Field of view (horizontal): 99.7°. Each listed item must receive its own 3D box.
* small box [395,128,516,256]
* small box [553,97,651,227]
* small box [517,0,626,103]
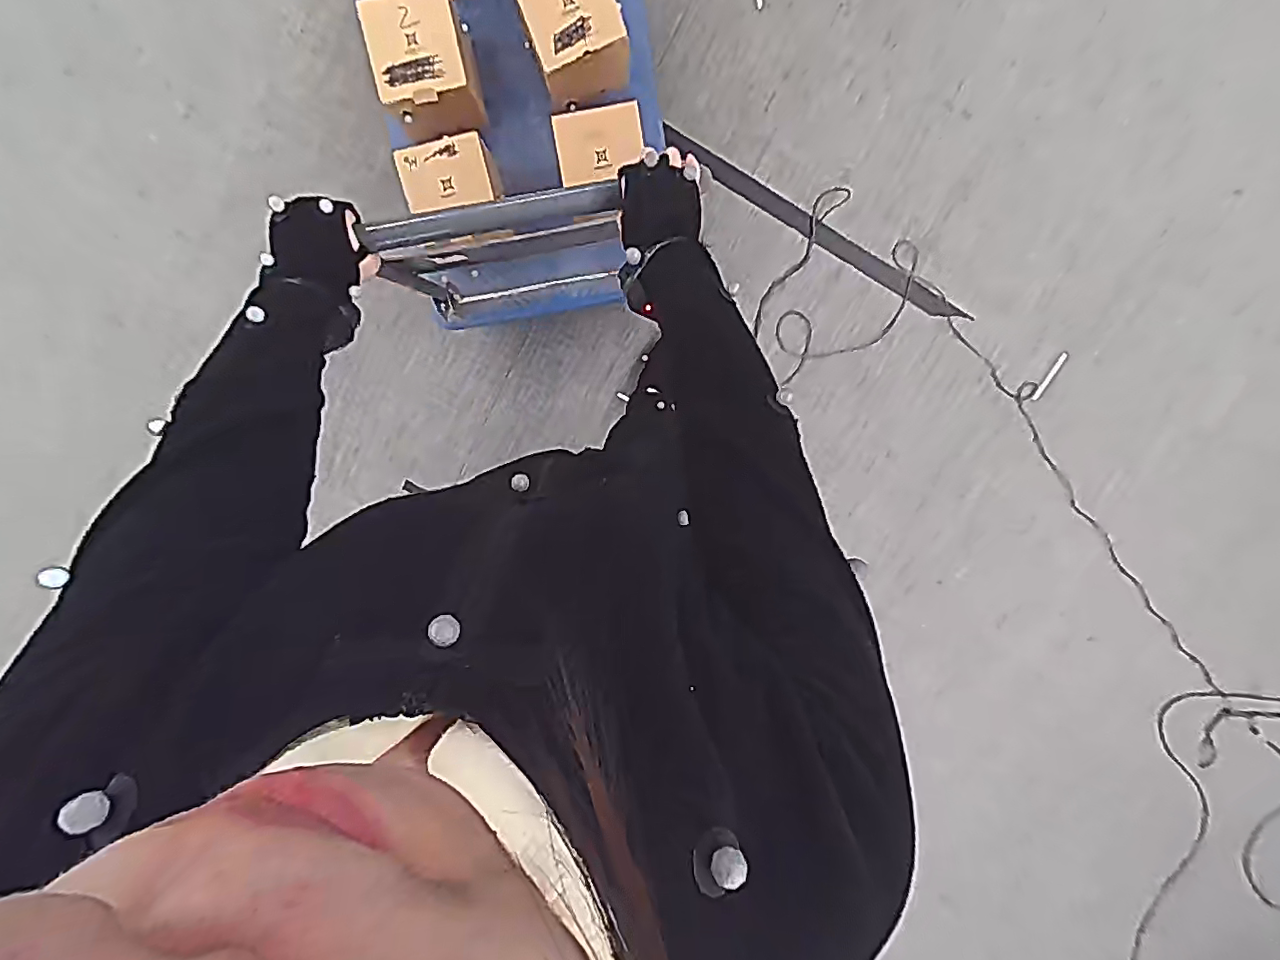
[{"bbox_3d":[-0.364,-0.572,1.103,0.168,0.176,0.179,-14,101,1],"label":"small box"},{"bbox_3d":[-0.071,-0.630,1.099,0.168,0.176,0.179,-10,100,0],"label":"small box"},{"bbox_3d":[-0.131,-0.877,1.050,0.168,0.176,0.179,-22,100,3],"label":"small box"}]
